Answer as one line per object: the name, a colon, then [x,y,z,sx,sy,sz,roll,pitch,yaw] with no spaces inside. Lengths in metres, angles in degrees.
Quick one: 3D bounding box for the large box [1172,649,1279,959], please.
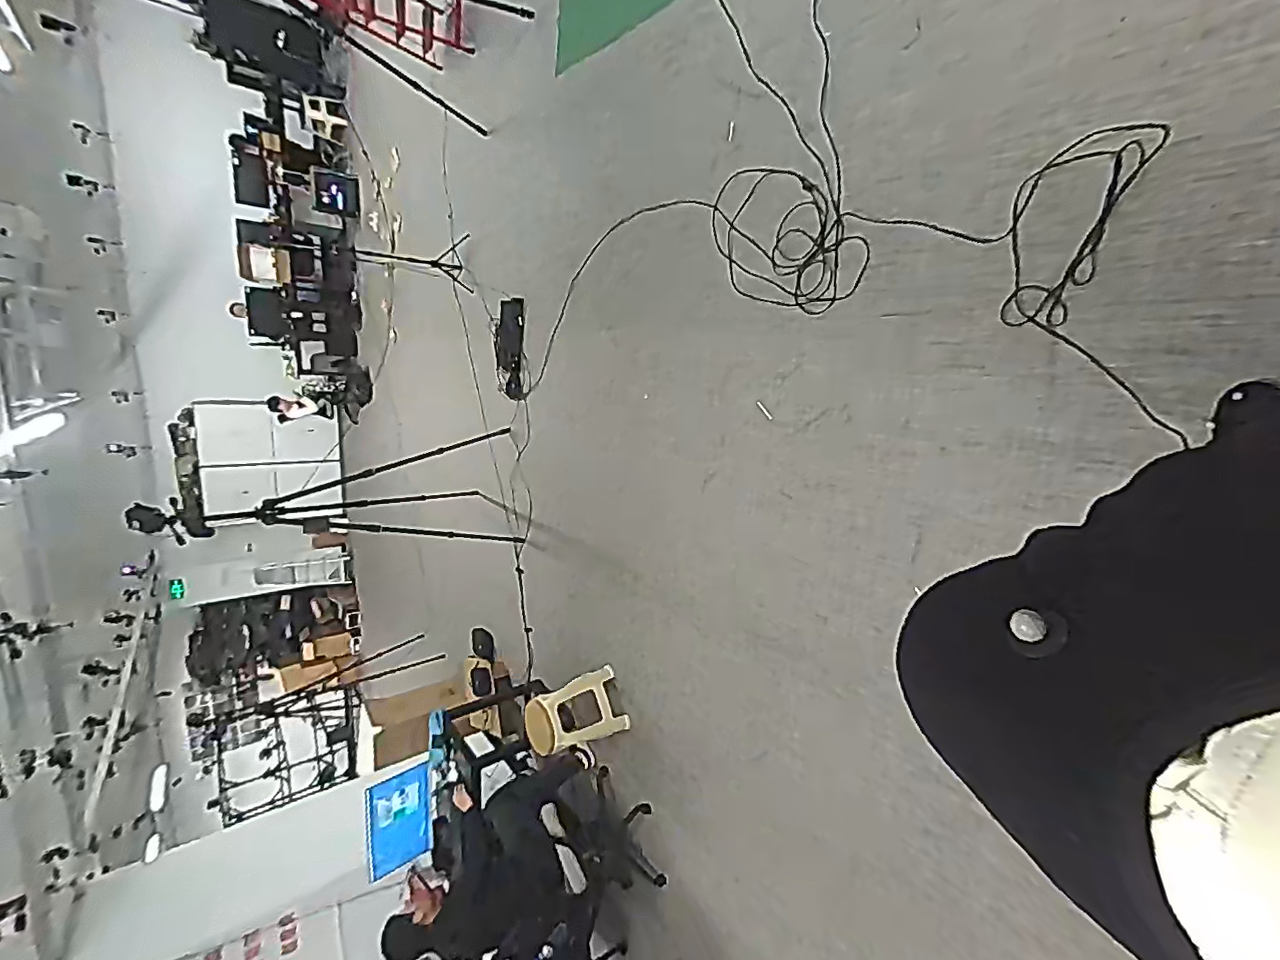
large box: [1.130,0.536,0.839,0.320,0.320,0.408,28,116,46]
